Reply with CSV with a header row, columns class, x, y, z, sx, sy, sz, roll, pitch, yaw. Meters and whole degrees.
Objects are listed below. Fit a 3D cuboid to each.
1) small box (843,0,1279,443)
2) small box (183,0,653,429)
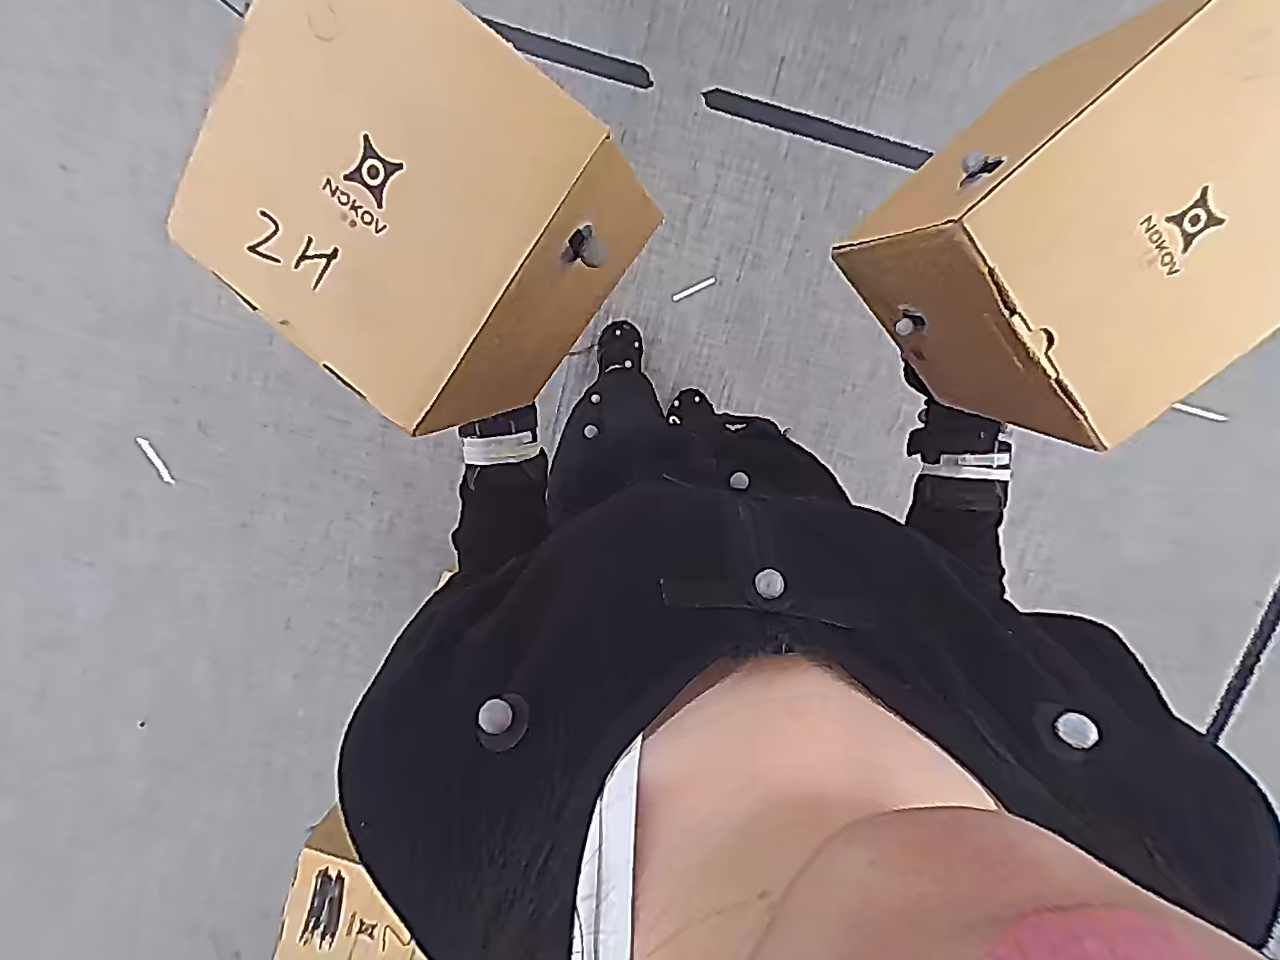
class,x,y,z,sx,sy,sz,roll,pitch,yaw
small box,0.272,-0.157,0.353,0.179,0.176,0.168,-42,106,11
small box,-0.107,-0.159,0.330,0.168,0.176,0.179,40,108,-1
